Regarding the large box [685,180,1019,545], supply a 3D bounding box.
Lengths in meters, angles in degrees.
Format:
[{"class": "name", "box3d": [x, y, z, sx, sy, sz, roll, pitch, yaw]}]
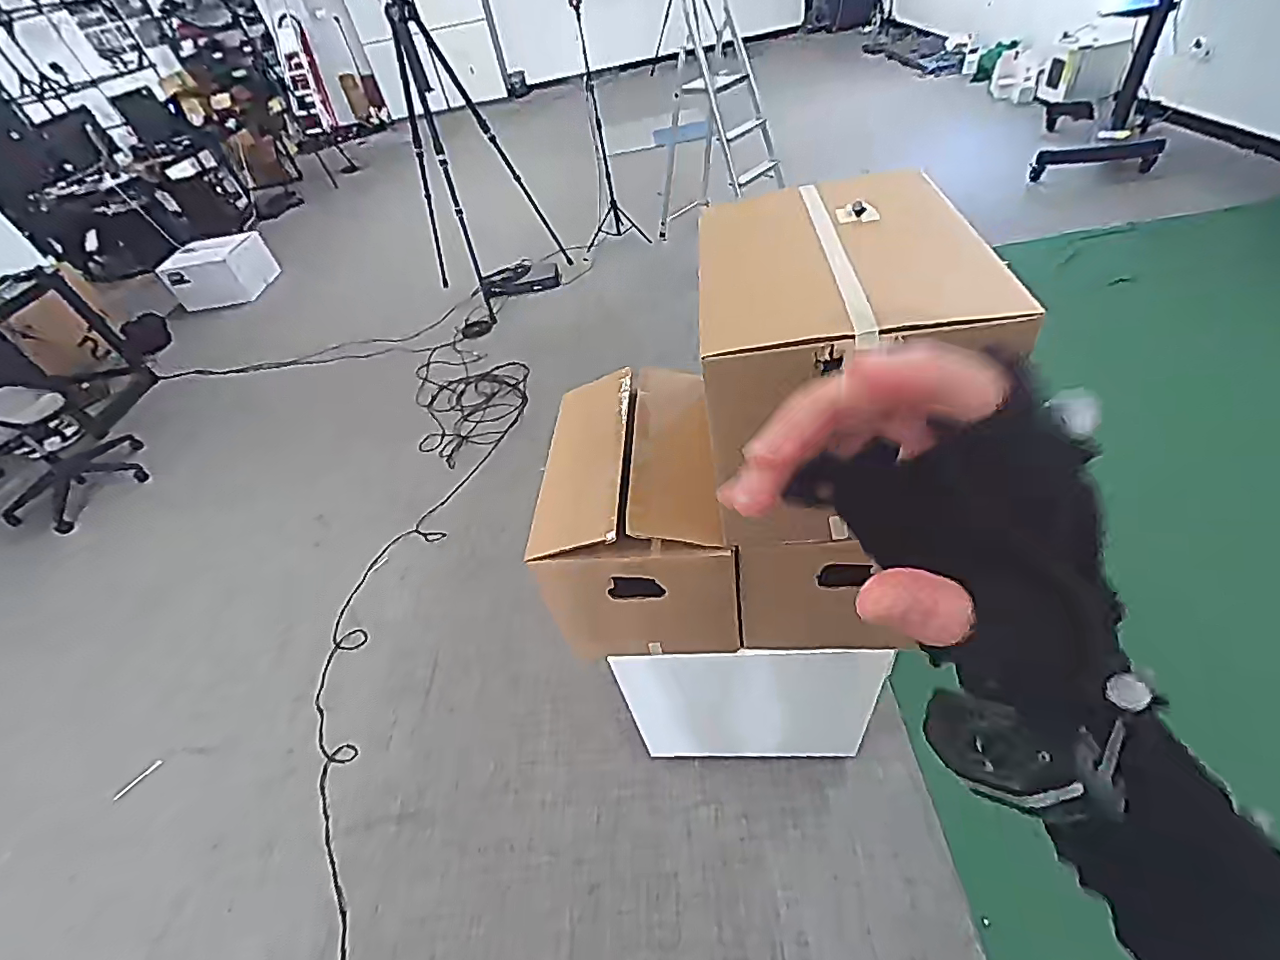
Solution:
[{"class": "large box", "box3d": [0.241, -0.165, 0.756, 0.320, 0.320, 0.408, -5, 44, 11]}]
